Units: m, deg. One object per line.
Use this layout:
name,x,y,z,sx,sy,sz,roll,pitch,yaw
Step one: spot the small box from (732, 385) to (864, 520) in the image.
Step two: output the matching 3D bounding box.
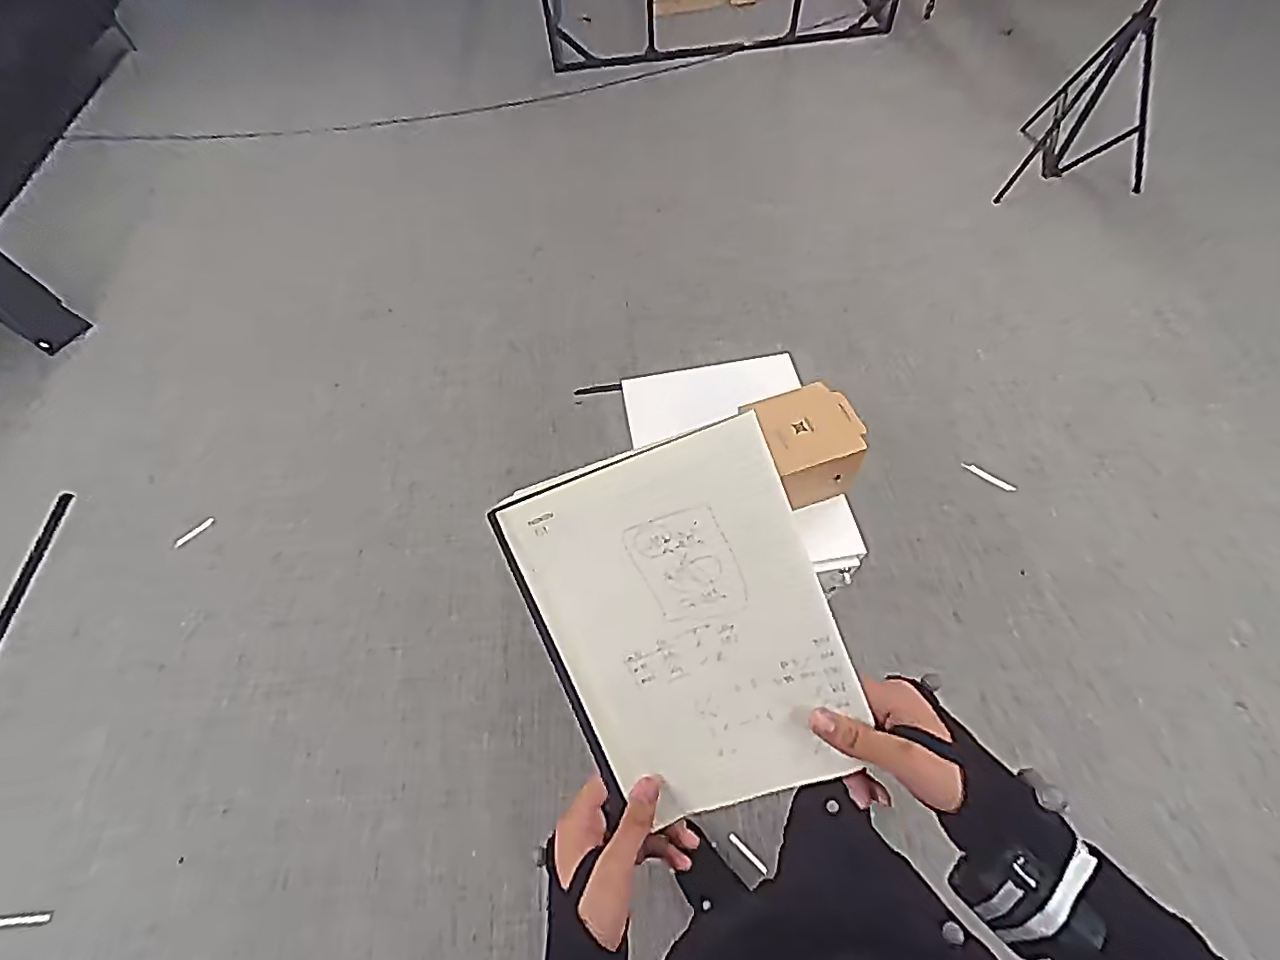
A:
small box,0.290,-0.048,1.035,0.179,0.176,0.168,-18,60,-5
